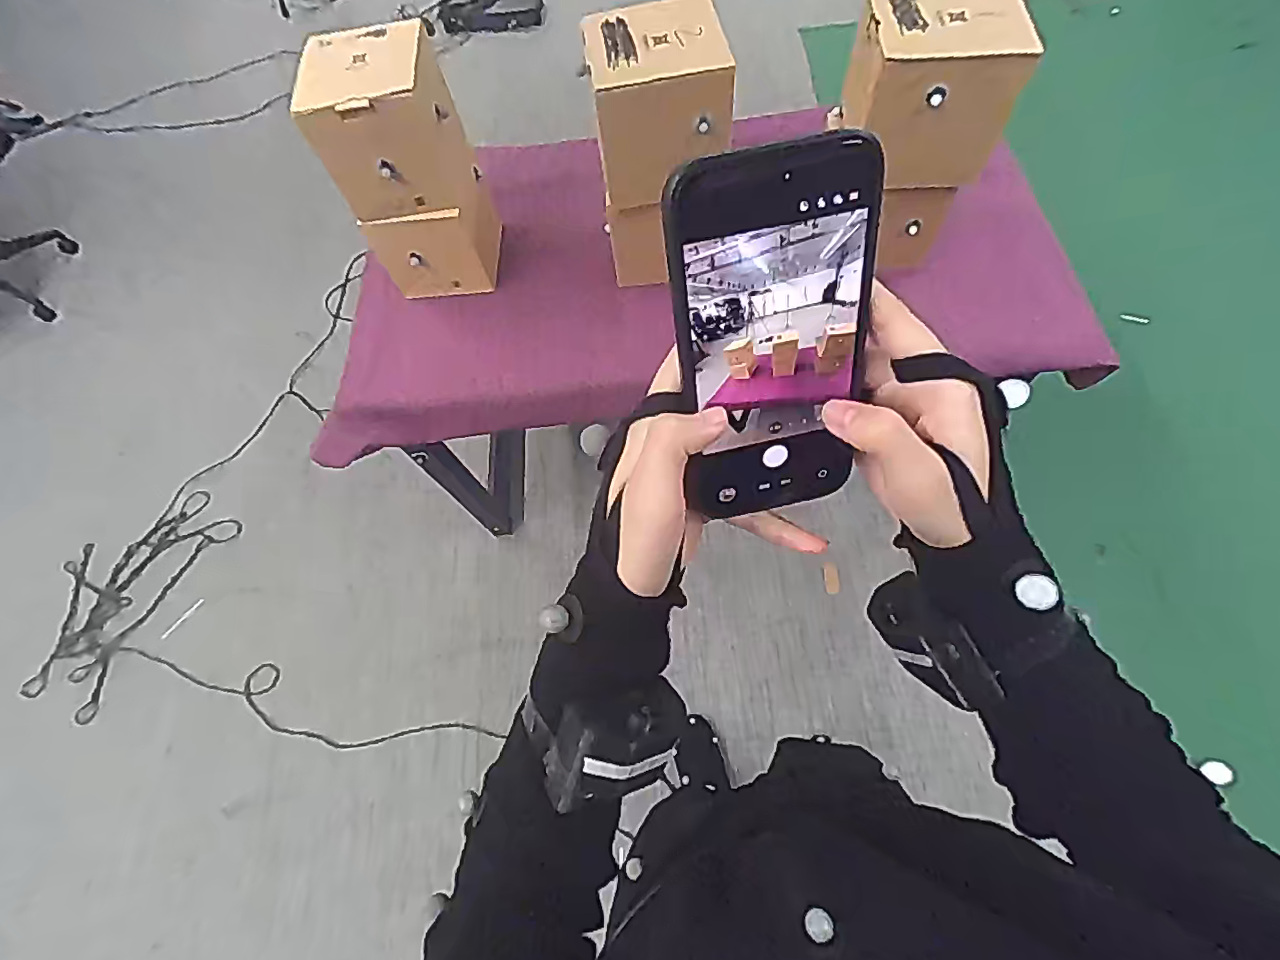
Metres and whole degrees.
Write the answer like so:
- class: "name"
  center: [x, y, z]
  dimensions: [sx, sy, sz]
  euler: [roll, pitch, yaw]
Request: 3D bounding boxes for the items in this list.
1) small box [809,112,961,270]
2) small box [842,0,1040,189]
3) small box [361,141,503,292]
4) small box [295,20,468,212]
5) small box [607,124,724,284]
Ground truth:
- class: "small box"
  center: [0.381, -0.459, 0.872]
  dimensions: [0.179, 0.176, 0.168]
  euler: [2, 66, 7]
- class: "small box"
  center: [0.375, -0.512, 0.716]
  dimensions: [0.179, 0.176, 0.168]
  euler: [2, 66, 6]
- class: "small box"
  center: [-0.347, -0.446, 0.941]
  dimensions: [0.168, 0.176, 0.179]
  euler: [-3, 66, 5]
- class: "small box"
  center: [-0.363, -0.520, 0.795]
  dimensions: [0.168, 0.176, 0.179]
  euler: [-7, 66, 2]
- class: "small box"
  center: [0.042, -0.451, 0.902]
  dimensions: [0.179, 0.176, 0.168]
  euler: [-4, 66, 4]
